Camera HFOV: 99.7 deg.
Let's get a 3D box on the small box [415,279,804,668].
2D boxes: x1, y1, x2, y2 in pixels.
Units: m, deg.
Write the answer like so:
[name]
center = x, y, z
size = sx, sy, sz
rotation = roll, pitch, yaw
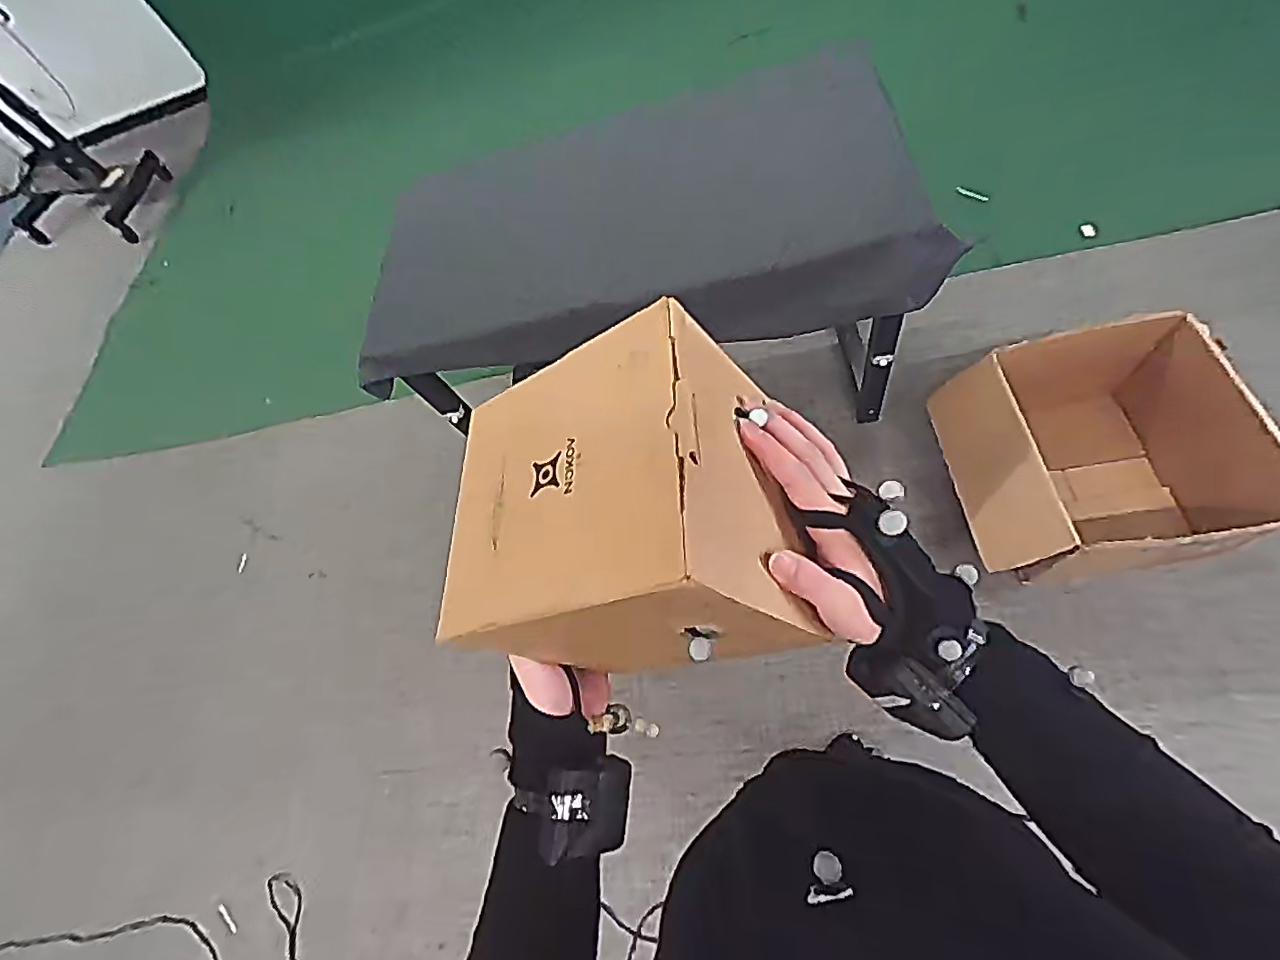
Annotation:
[small box]
center = -0.010, 0.018, 0.349
size = 0.179, 0.176, 0.168
rotation = -23, 54, 32
